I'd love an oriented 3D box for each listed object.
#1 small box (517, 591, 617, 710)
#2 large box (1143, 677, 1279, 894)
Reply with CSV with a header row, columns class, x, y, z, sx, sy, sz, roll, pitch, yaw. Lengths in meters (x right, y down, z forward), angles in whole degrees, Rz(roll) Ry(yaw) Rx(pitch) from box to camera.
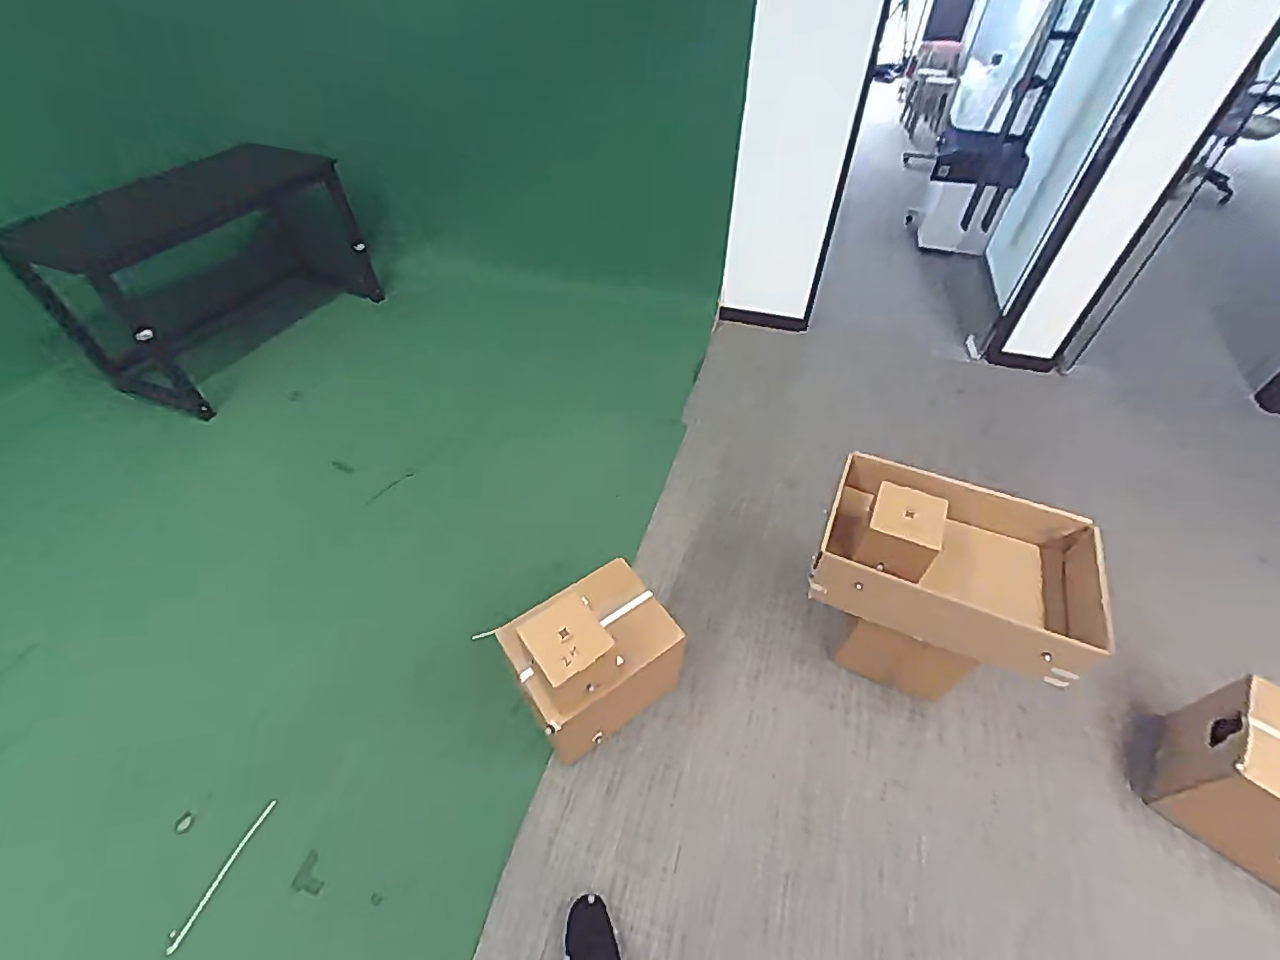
class,x,y,z,sx,sy,sz,roll,pitch,yaw
small box,-0.169,0.405,1.276,0.168,0.176,0.179,-29,55,-25
large box,1.571,0.771,1.303,0.408,0.320,0.320,32,54,27
